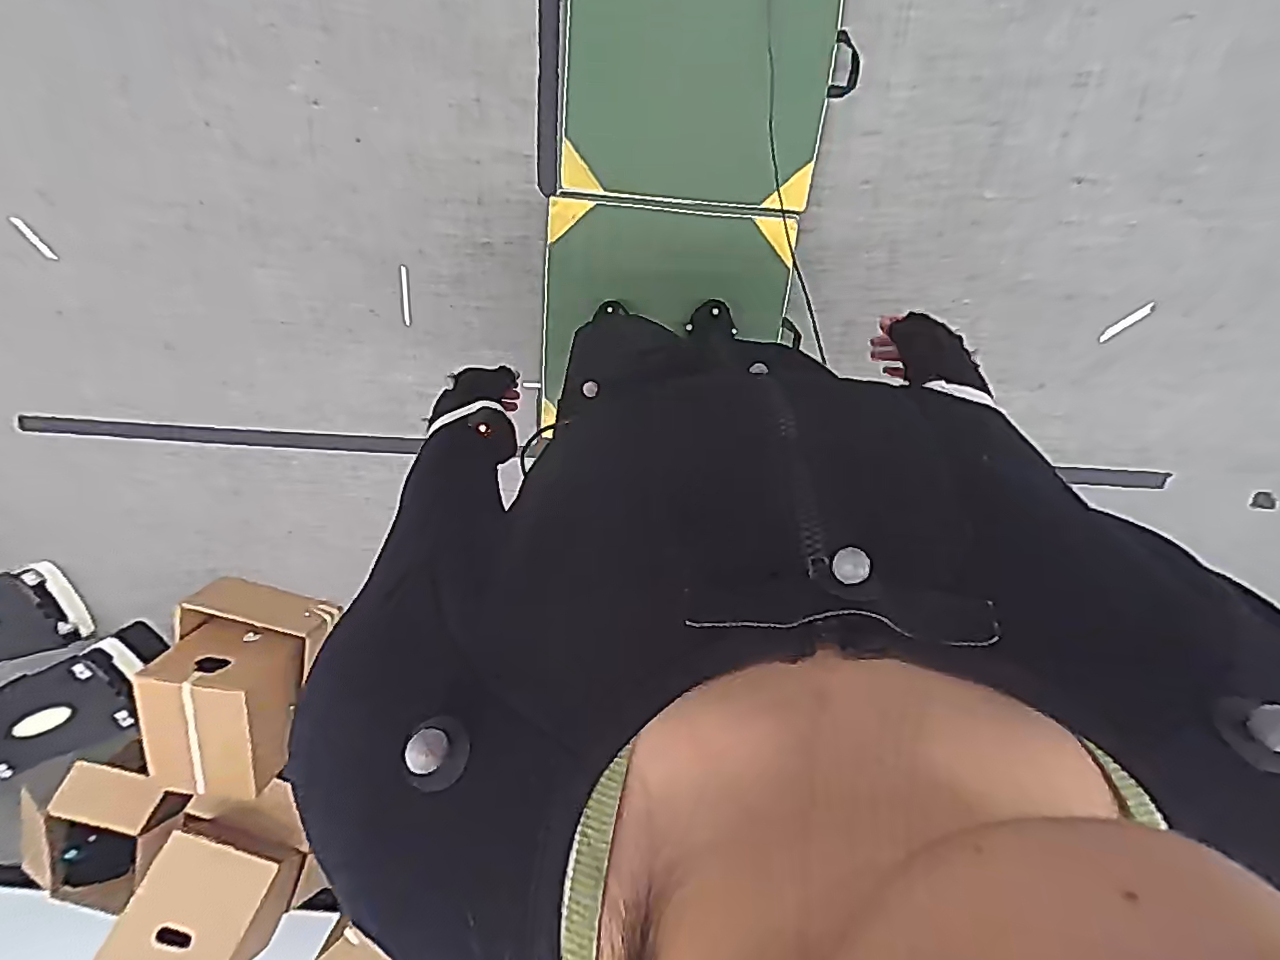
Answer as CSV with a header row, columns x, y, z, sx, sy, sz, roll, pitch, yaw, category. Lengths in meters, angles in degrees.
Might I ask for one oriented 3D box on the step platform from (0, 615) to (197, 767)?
x,y,z,sx,sy,sz,roll,pitch,yaw,category
-1.905,0.720,1.835,0.684,0.204,0.286,-24,106,9,step platform
